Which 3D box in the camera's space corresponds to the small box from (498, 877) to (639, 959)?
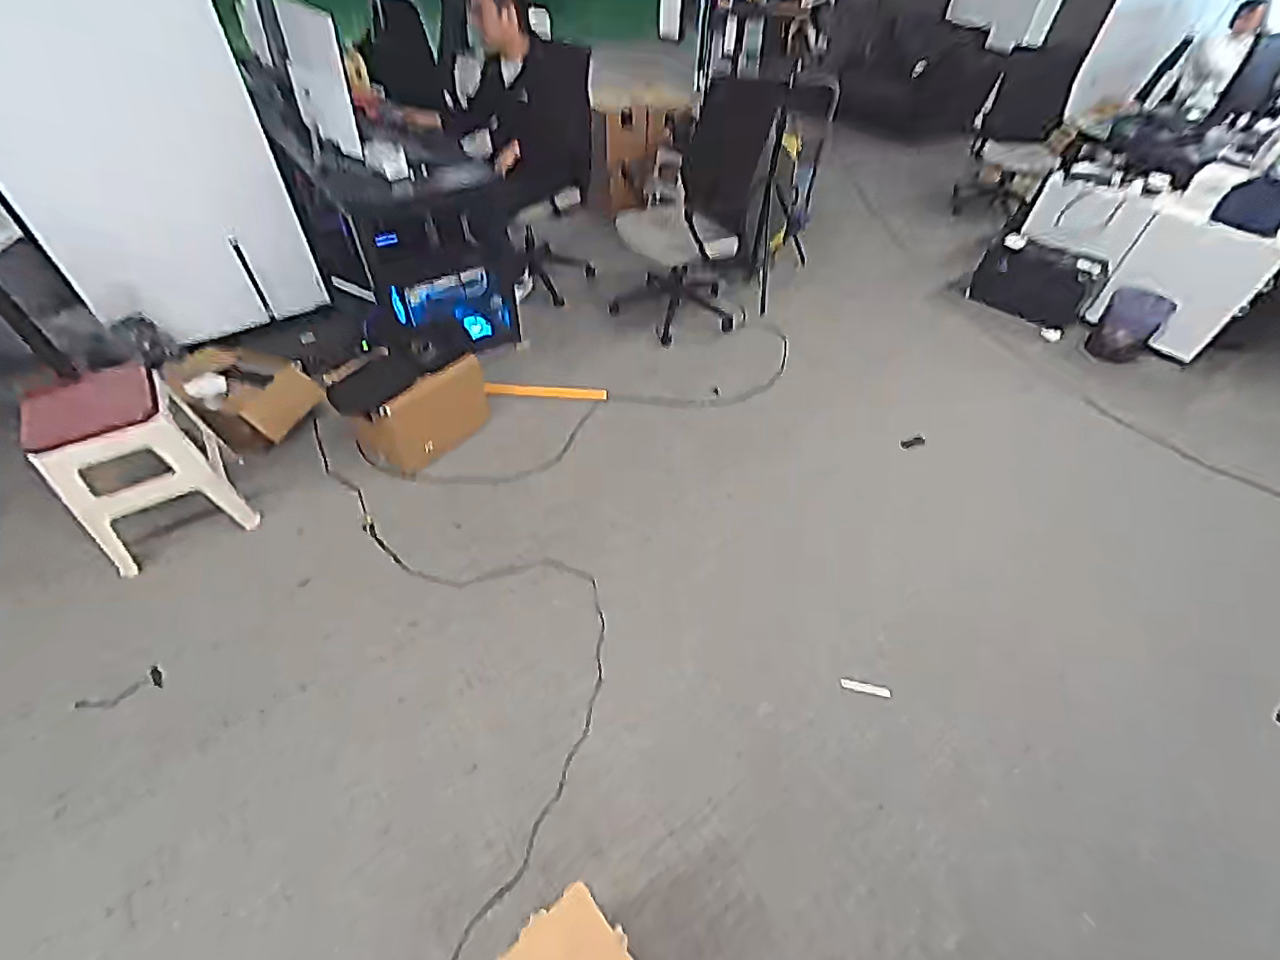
[{"bbox_3d":[-0.093,0.732,0.785,0.168,0.176,0.179,-32,56,-28],"label":"small box"}]
